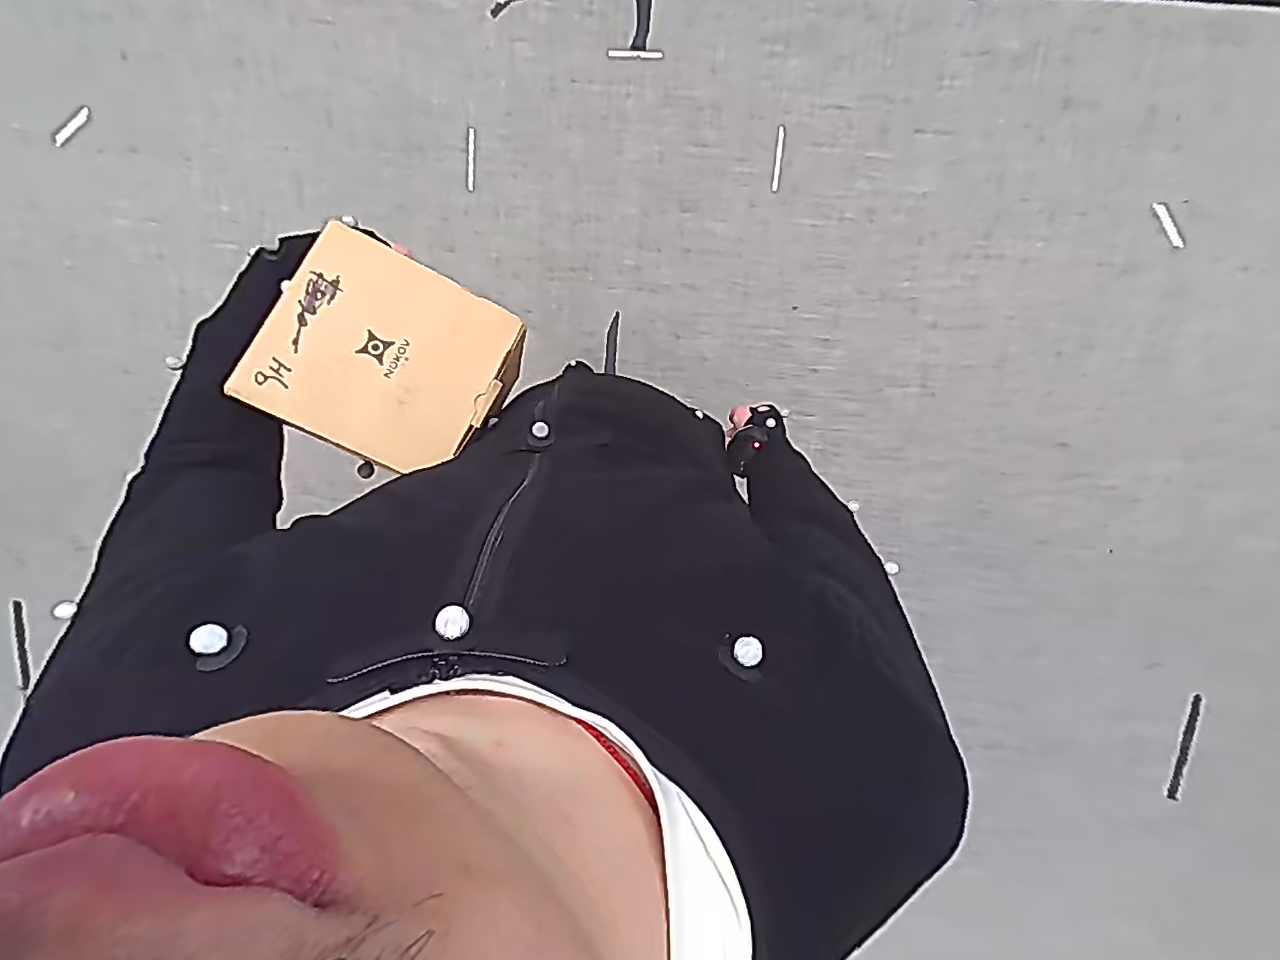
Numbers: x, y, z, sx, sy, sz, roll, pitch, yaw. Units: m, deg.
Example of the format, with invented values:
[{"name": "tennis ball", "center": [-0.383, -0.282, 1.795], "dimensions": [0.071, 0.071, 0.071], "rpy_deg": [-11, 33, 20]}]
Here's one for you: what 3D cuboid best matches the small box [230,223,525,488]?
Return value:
[{"name": "small box", "center": [-0.231, -0.099, 0.525], "dimensions": [0.179, 0.176, 0.168], "rpy_deg": [26, 79, -12]}]
